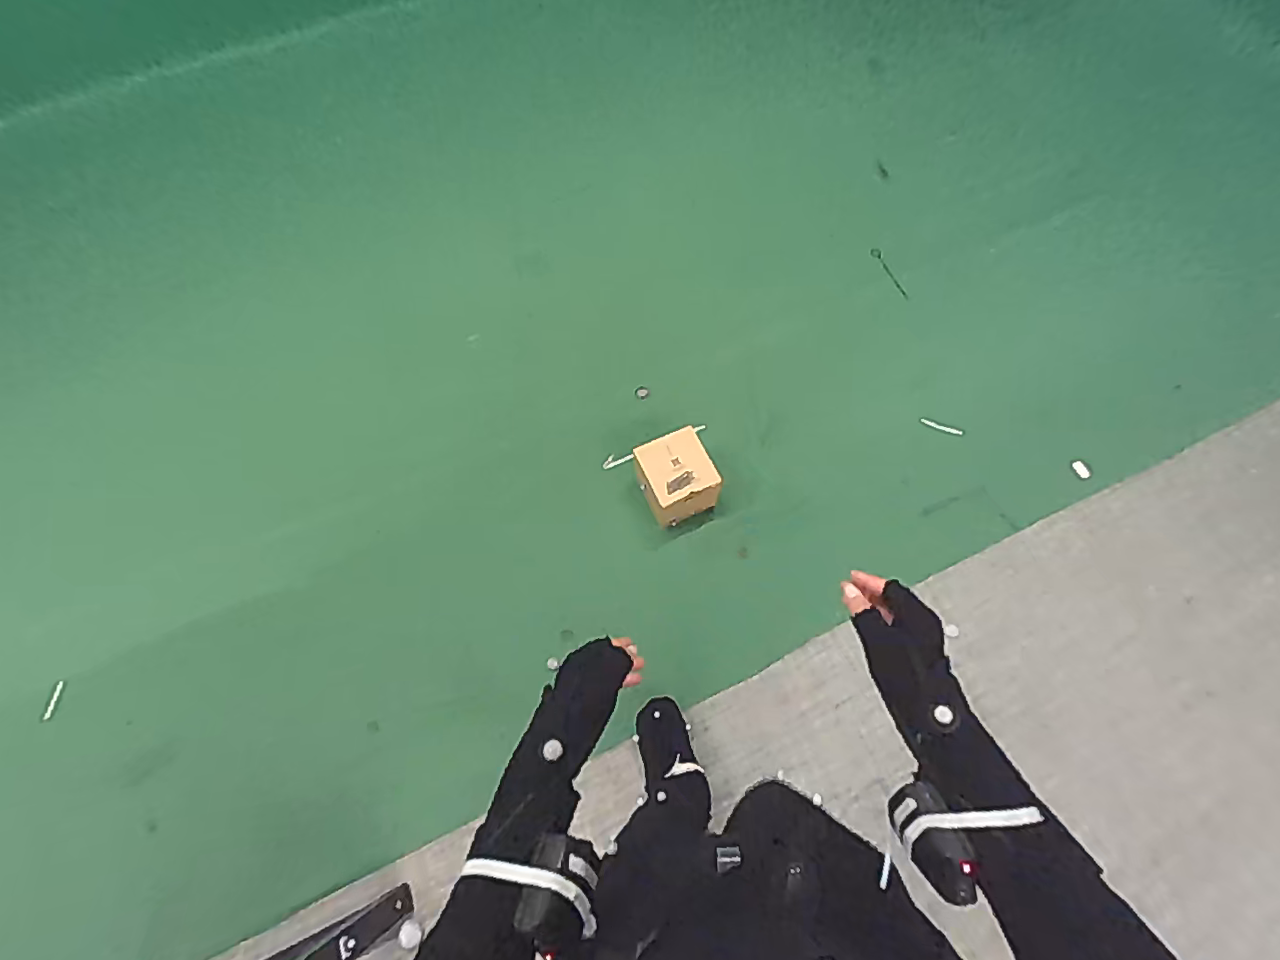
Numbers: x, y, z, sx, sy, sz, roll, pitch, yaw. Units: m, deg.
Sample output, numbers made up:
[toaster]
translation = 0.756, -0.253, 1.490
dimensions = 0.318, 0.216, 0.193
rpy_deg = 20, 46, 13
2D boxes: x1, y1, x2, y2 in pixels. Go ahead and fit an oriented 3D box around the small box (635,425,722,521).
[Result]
[small box]
translation = 0.099, -0.009, 1.419
dimensions = 0.168, 0.176, 0.179
rpy_deg = -23, 68, -8
